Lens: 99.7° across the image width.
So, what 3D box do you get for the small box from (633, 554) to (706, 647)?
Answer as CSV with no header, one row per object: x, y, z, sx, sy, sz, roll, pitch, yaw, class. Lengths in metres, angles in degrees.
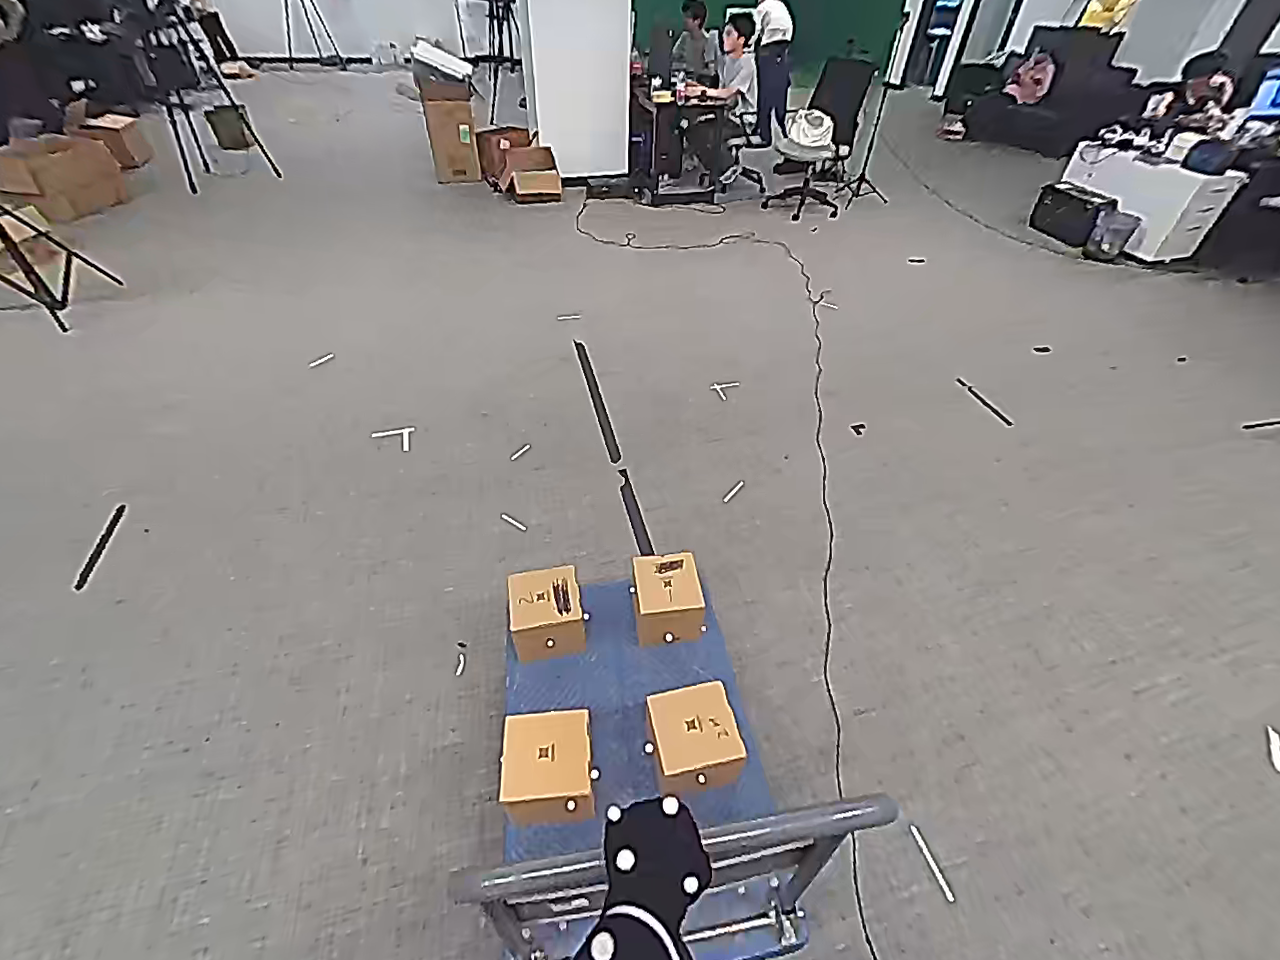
0.071,0.324,1.452,0.168,0.176,0.179,-5,45,-7,small box

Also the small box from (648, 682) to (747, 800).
0.118,0.576,1.189,0.179,0.176,0.168,-9,45,-10,small box

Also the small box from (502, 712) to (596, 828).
-0.186,0.614,1.144,0.179,0.176,0.168,-3,44,-6,small box
